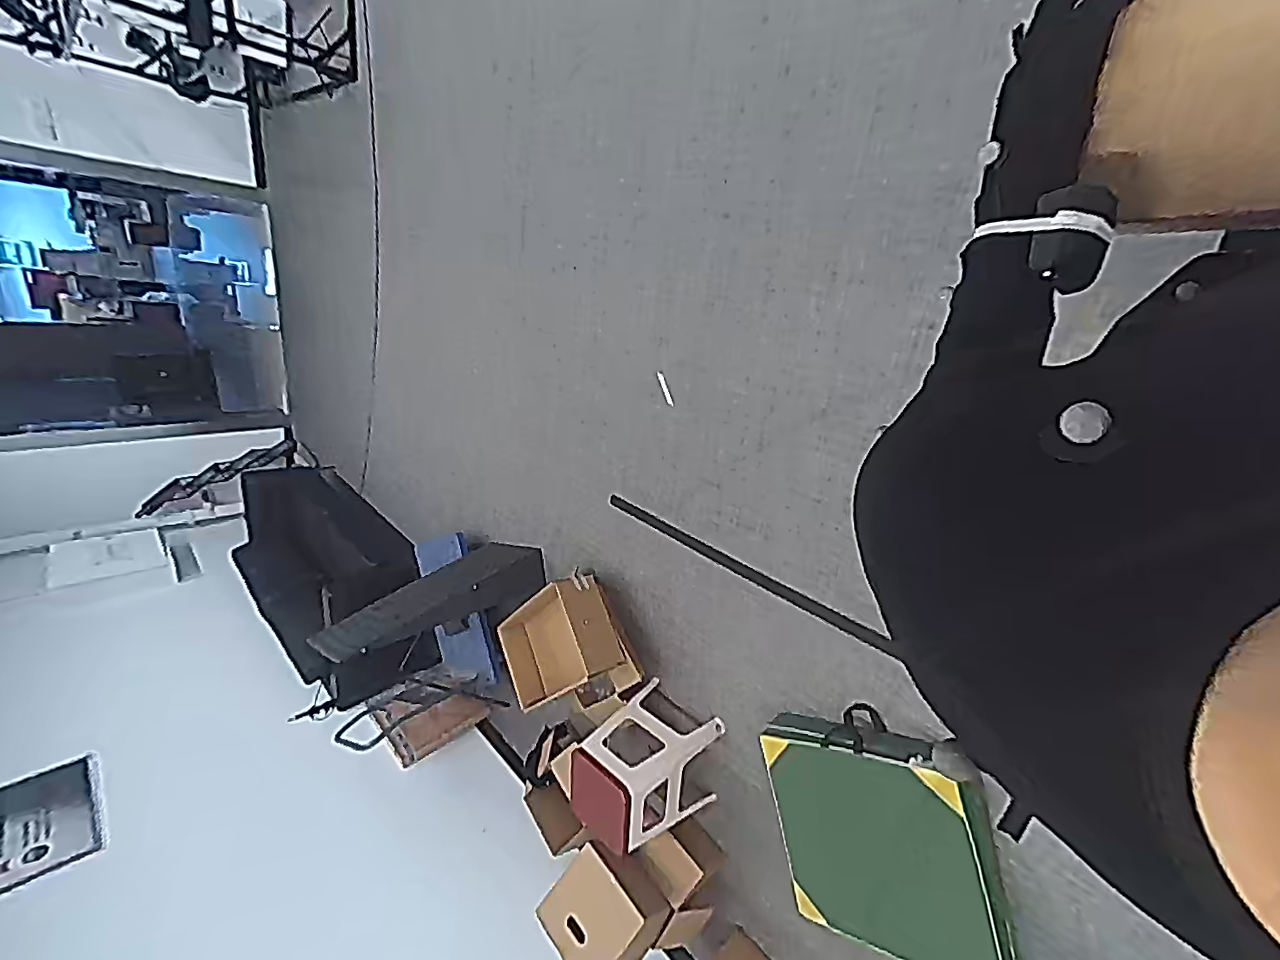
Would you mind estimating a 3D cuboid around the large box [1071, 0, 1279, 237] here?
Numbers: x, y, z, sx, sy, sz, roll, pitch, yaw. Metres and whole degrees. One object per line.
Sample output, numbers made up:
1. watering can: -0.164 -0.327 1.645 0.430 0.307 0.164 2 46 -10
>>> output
1. large box: 0.594 -0.358 0.376 0.408 0.320 0.320 16 117 39
